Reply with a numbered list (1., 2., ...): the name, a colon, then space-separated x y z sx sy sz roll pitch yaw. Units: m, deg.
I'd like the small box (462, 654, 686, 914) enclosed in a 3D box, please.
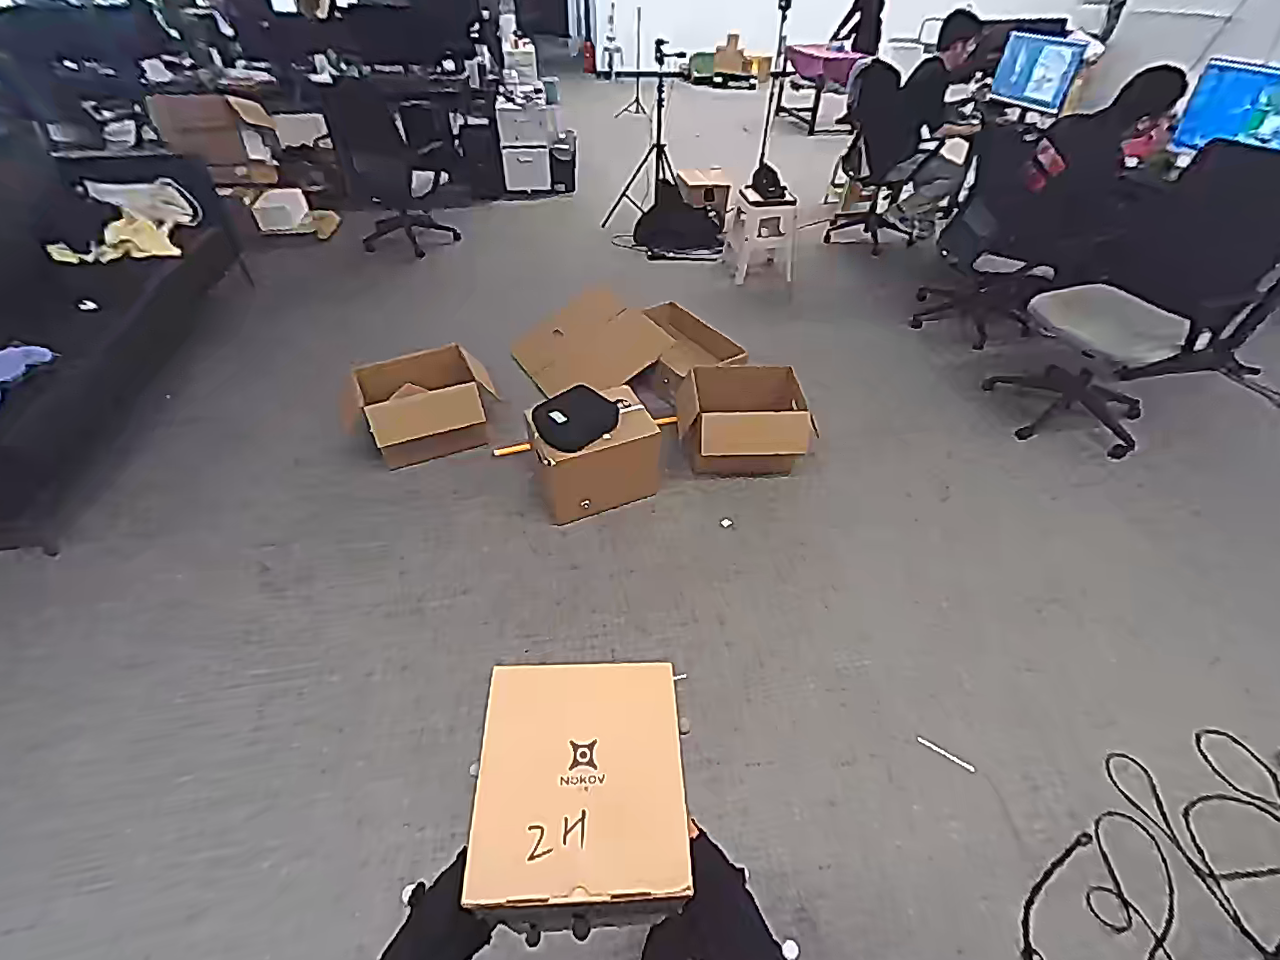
1. small box: -0.055 0.282 0.504 0.168 0.176 0.179 1 47 -4
